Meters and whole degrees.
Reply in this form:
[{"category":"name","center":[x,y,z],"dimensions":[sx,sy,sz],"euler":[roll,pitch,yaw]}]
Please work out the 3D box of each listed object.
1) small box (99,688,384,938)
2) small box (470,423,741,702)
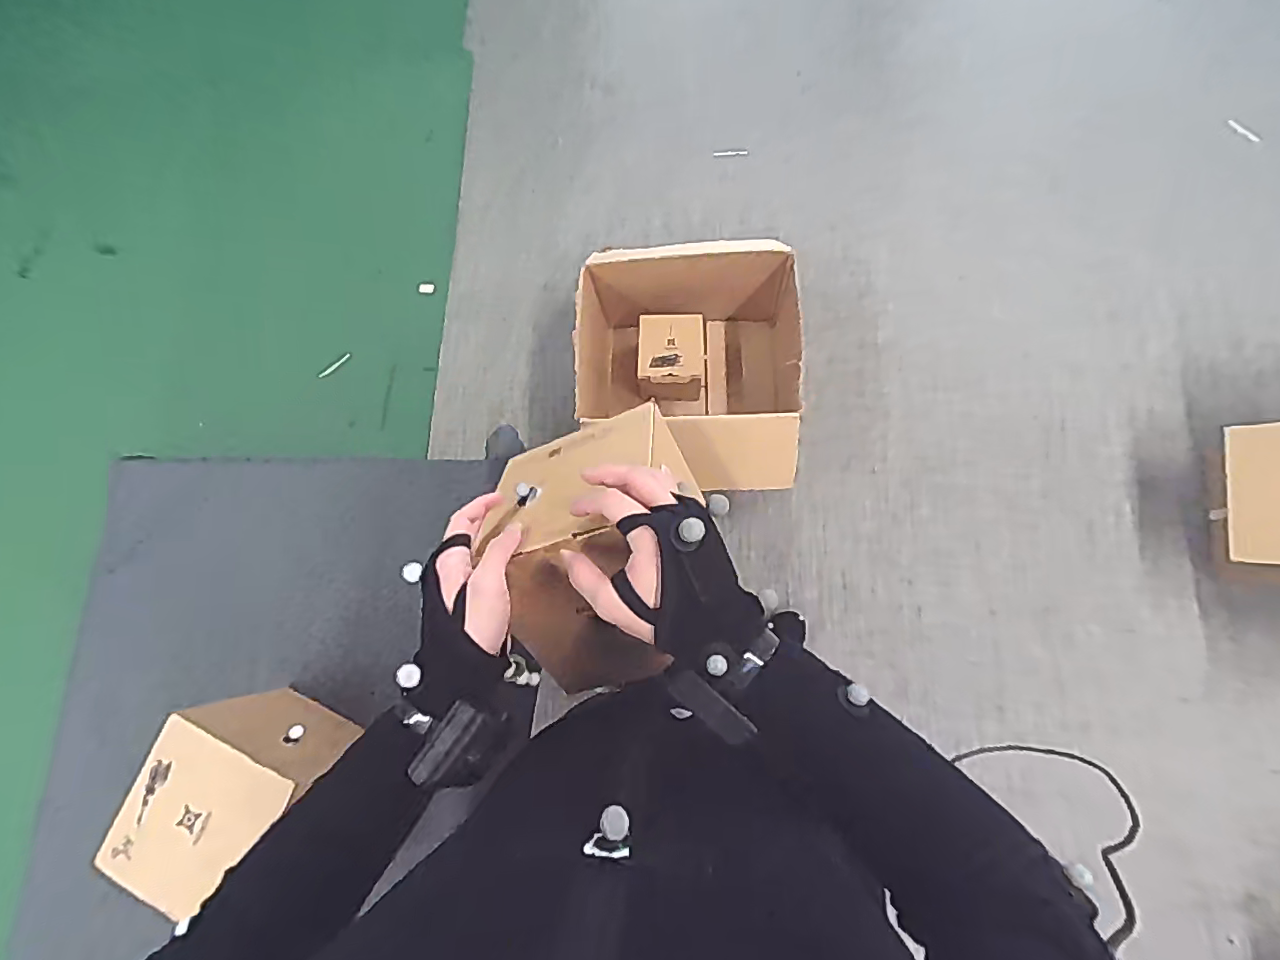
[{"category":"small box","center":[-0.445,0.365,0.637],"dimensions":[0.179,0.176,0.168],"euler":[22,81,11]},{"category":"small box","center":[-0.020,0.068,0.499],"dimensions":[0.168,0.179,0.176],"euler":[-20,31,17]}]
